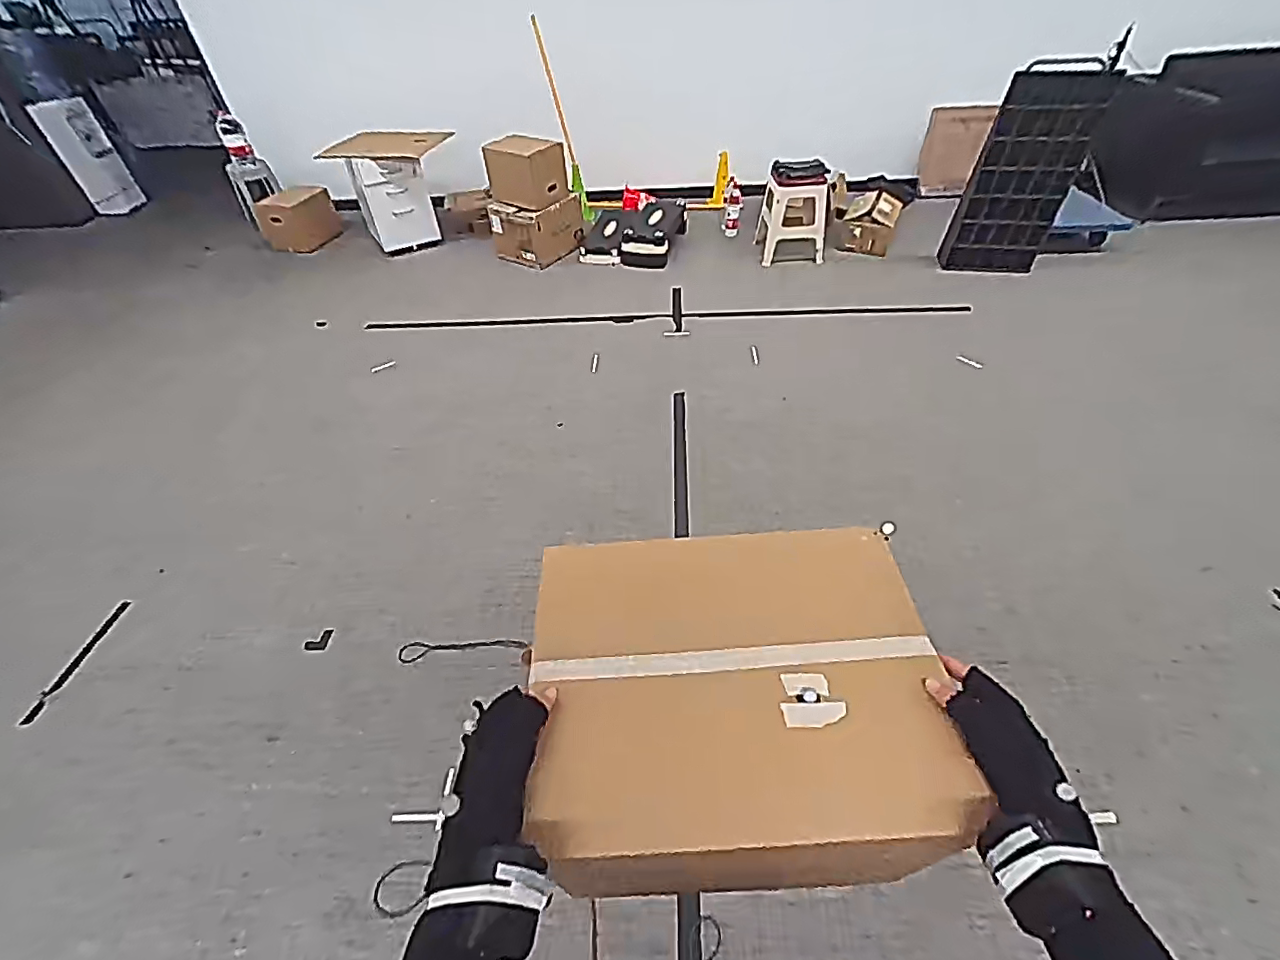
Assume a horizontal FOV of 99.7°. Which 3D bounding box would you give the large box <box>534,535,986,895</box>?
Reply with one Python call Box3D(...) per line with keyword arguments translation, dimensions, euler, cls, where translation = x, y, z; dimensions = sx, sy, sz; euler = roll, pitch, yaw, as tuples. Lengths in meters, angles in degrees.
Box3D(translation=(0.101, 0.294, 0.673), dimensions=(0.408, 0.320, 0.320), euler=(-4, 48, 0), cls="large box")
